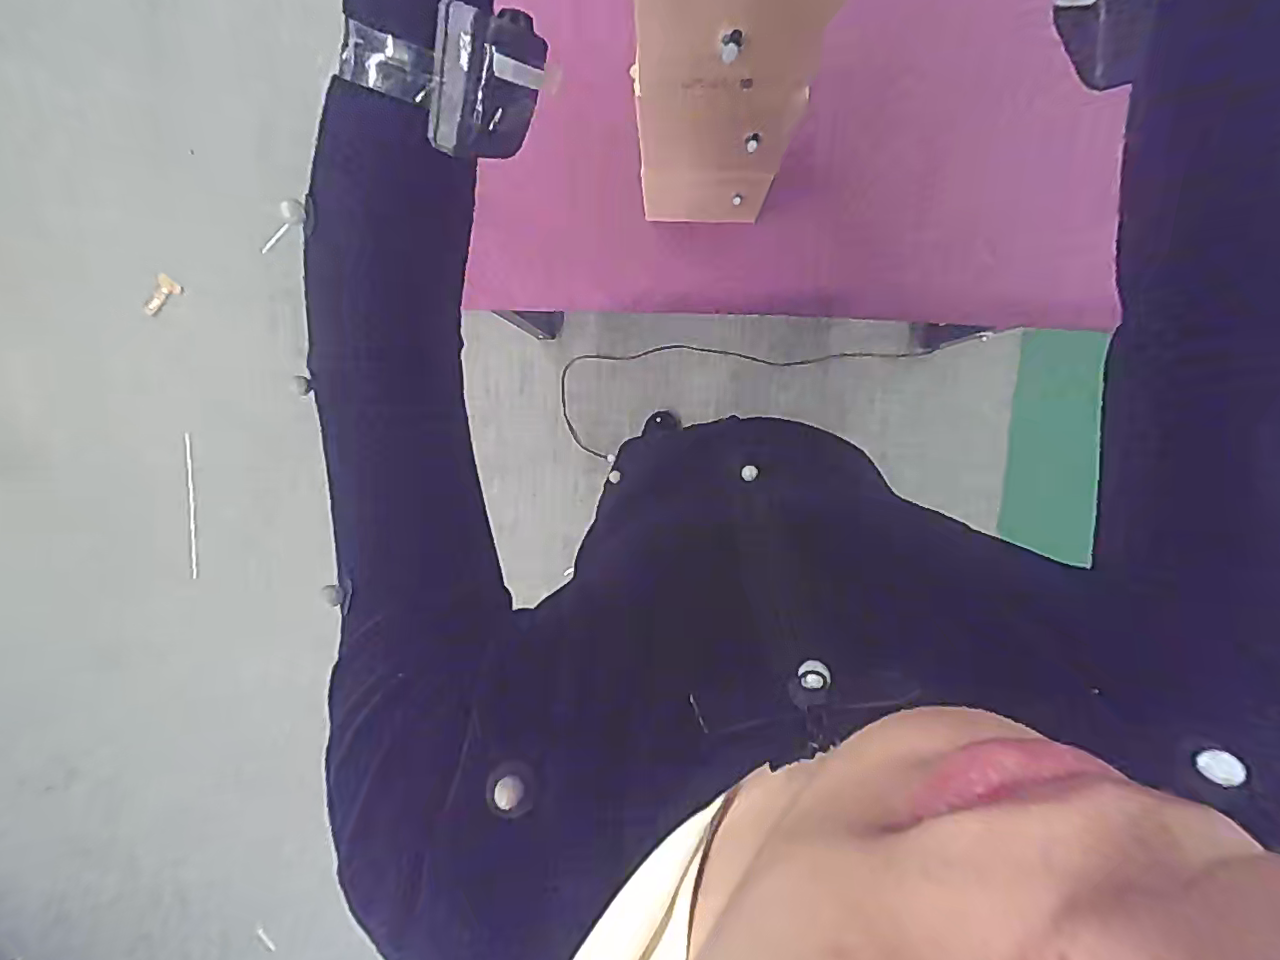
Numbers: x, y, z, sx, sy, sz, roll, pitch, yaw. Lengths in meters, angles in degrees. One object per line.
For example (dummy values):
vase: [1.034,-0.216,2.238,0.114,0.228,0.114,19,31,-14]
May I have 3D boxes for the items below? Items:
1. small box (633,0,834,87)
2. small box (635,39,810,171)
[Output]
small box: [0.080,-0.463,0.449,0.168,0.176,0.179,2,96,2]
small box: [0.089,-0.473,0.611,0.179,0.176,0.168,3,96,3]
